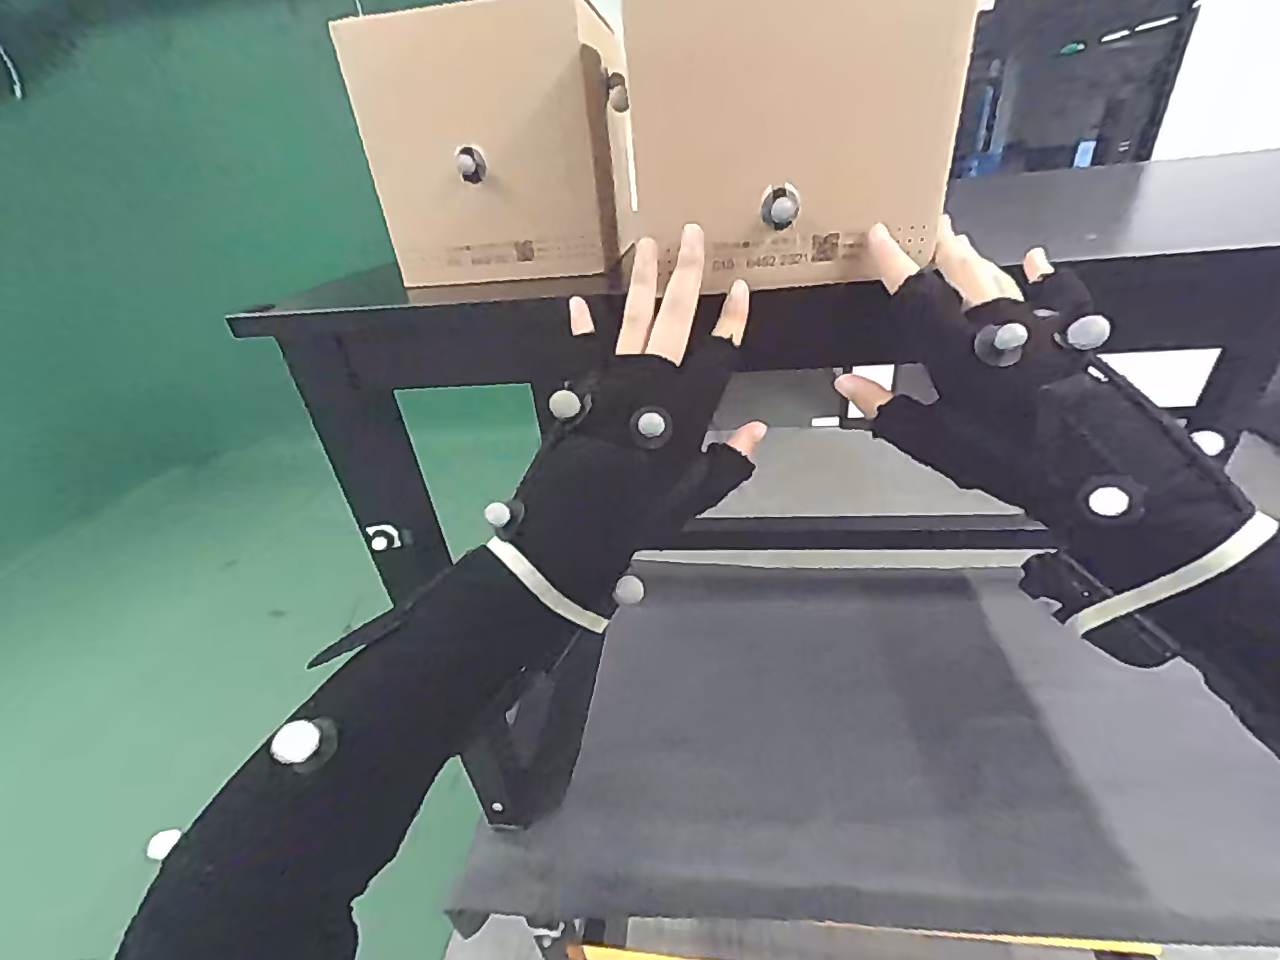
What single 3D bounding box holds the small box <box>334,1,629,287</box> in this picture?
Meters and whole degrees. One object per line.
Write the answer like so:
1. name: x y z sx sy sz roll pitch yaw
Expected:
1. small box: -0.105 -0.262 0.454 0.168 0.176 0.179 0 30 8
